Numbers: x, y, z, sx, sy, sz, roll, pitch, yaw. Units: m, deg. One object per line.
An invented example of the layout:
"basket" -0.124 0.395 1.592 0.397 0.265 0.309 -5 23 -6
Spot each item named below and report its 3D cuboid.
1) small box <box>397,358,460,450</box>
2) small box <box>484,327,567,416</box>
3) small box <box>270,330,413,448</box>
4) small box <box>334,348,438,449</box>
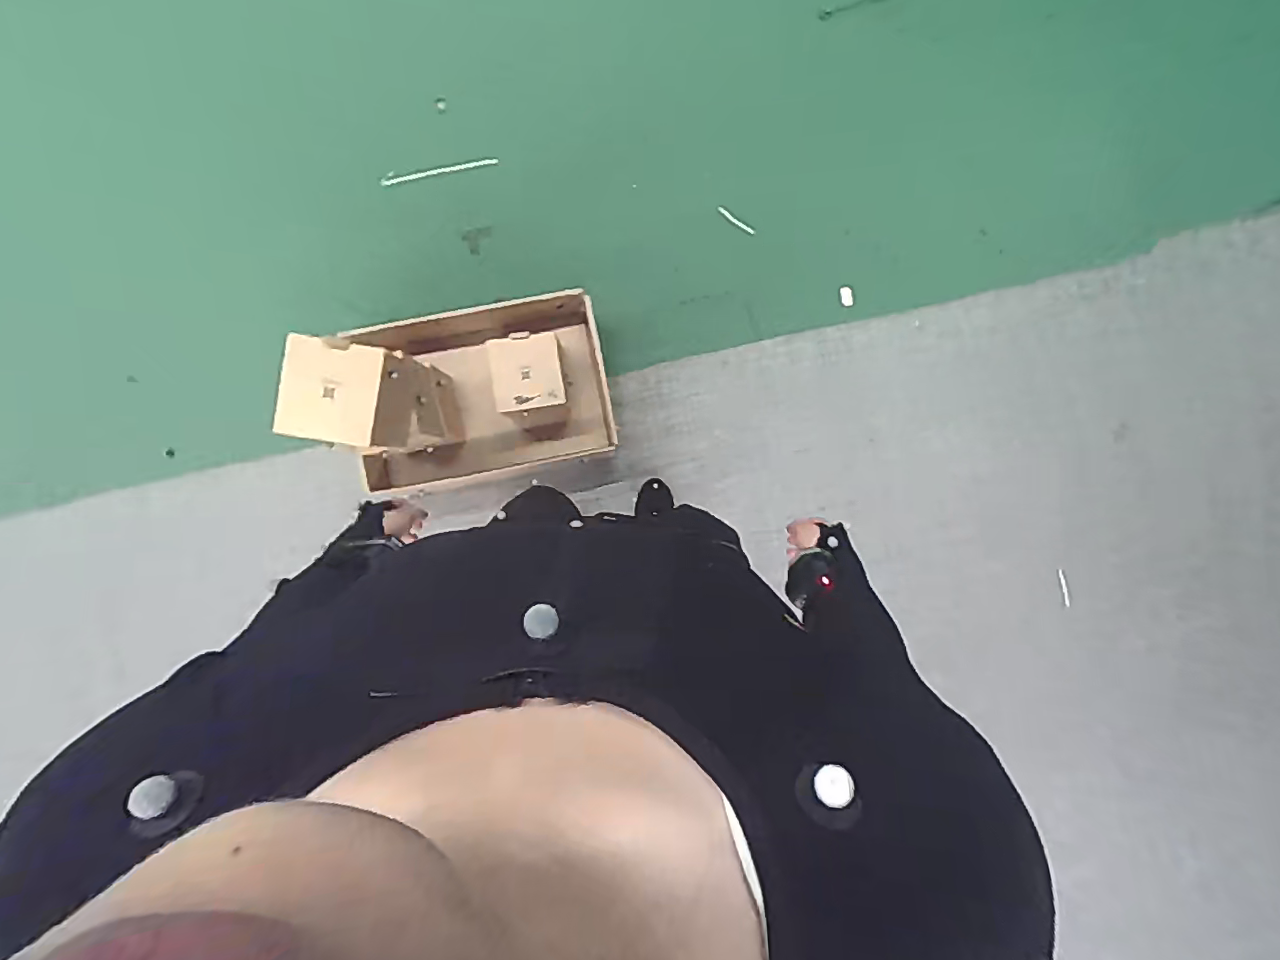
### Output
"small box" -0.557 -0.178 1.320 0.168 0.176 0.179 -14 91 -3
"small box" -0.277 -0.262 1.338 0.168 0.176 0.179 -8 91 -2
"small box" -0.537 -0.157 0.996 0.168 0.176 0.179 9 89 -4
"small box" -0.551 -0.165 1.157 0.168 0.176 0.179 -13 91 -4
